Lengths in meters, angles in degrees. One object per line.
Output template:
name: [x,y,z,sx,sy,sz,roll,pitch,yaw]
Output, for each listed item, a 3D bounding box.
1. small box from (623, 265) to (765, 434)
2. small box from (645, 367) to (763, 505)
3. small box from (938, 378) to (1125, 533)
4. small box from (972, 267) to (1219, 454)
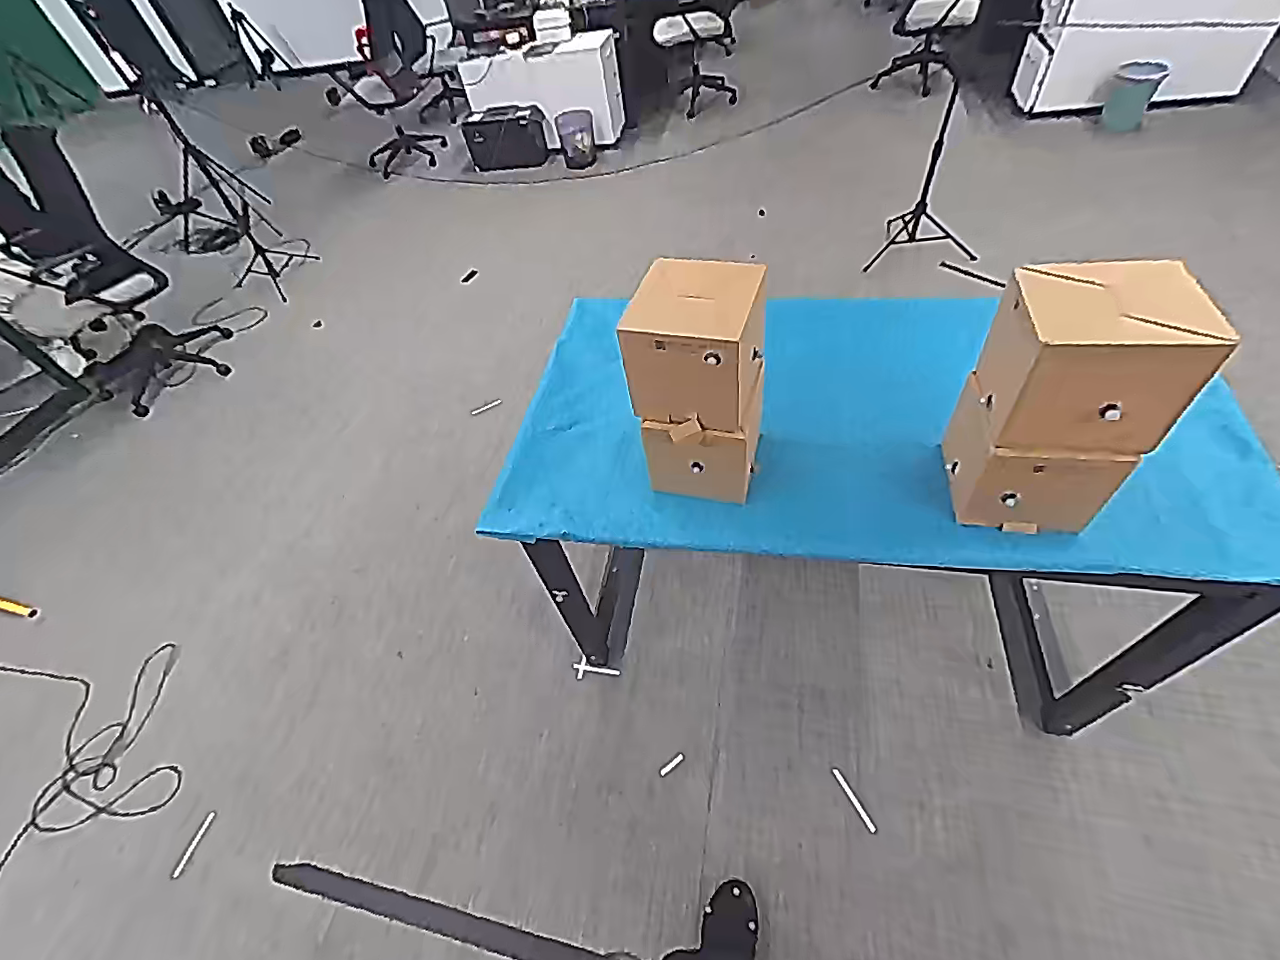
small box: [0.086,-0.196,0.801,0.168,0.176,0.179,11,55,18]
small box: [0.114,-0.084,0.919,0.168,0.176,0.179,8,53,15]
small box: [0.568,-0.042,0.805,0.168,0.176,0.179,3,51,13]
small box: [0.552,-0.151,0.683,0.179,0.176,0.168,3,50,16]
